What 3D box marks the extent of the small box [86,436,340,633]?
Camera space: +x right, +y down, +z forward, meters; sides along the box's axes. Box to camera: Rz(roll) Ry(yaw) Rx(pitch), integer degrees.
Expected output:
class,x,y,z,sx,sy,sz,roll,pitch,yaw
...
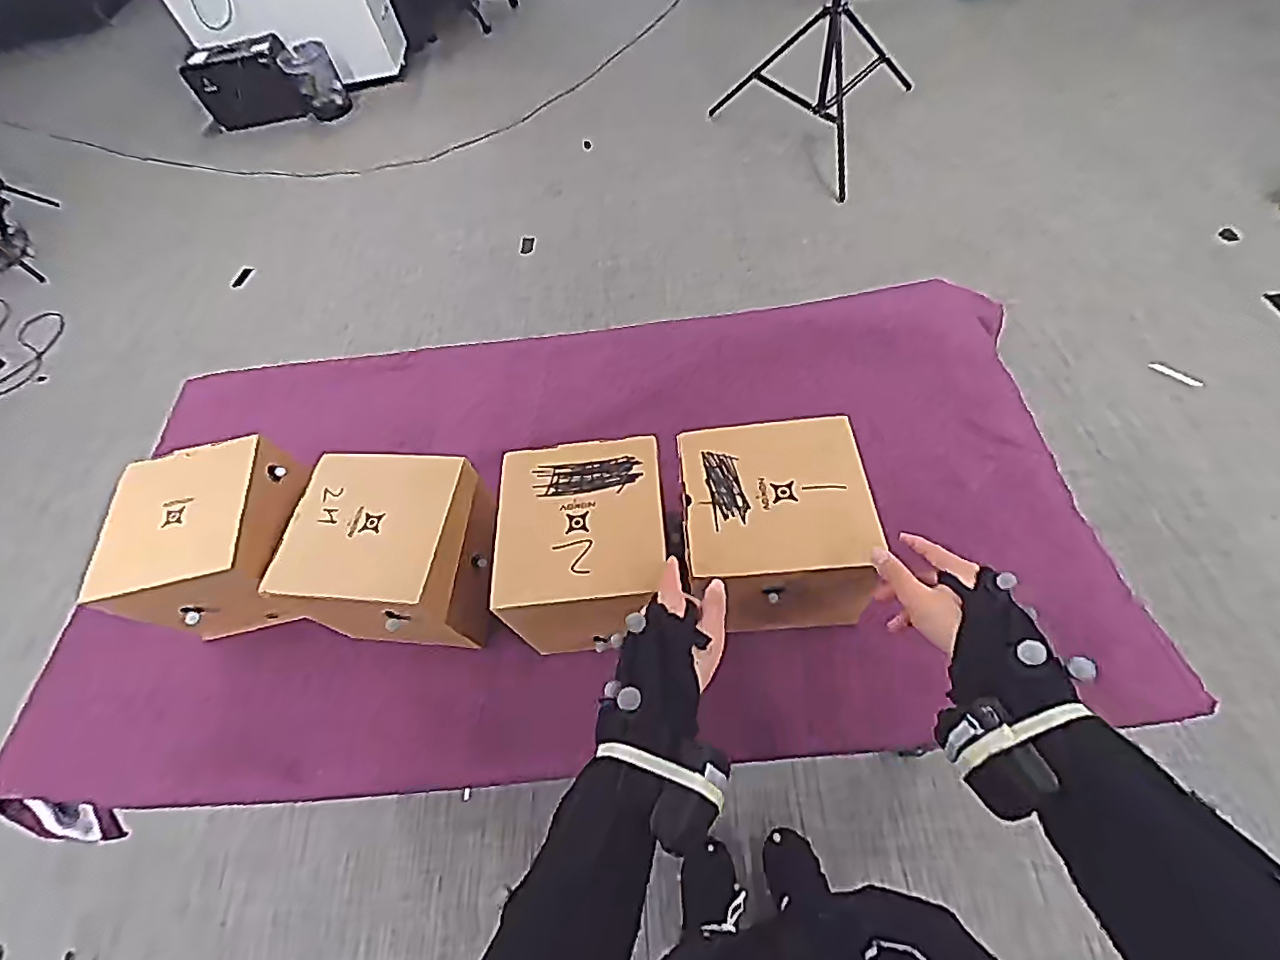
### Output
class,x,y,z,sx,sy,sz,roll,pitch,yaw
small box,-0.500,0.077,0.668,0.168,0.176,0.179,-14,59,0
